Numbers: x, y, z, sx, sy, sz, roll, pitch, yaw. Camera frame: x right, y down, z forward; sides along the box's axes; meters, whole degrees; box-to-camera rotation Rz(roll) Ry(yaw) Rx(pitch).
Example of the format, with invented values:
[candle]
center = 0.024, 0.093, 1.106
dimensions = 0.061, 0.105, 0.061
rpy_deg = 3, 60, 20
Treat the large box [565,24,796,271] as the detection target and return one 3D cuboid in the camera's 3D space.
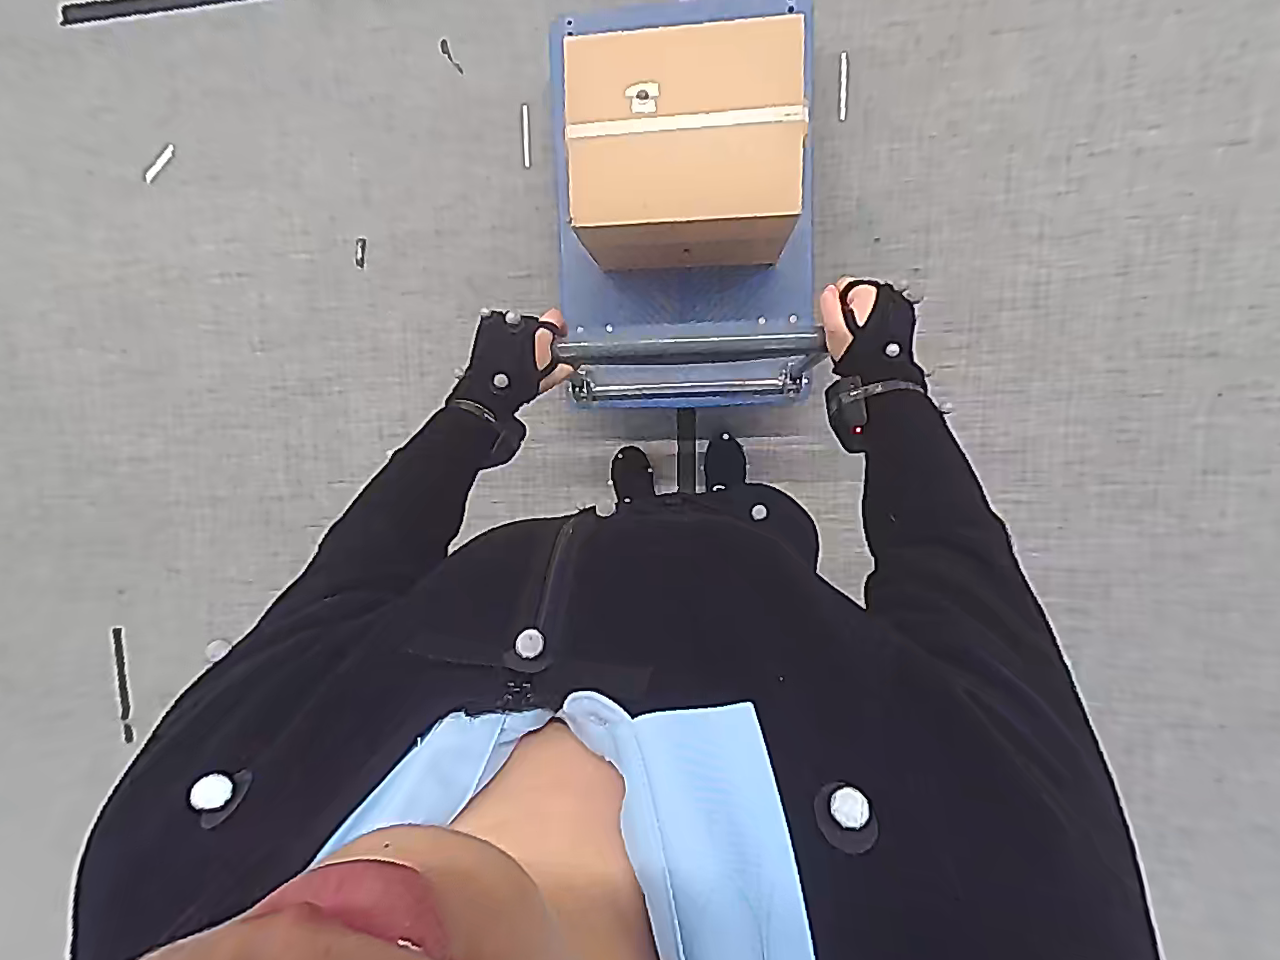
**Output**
[large box]
center = 0.089, -0.628, 1.093
dimensions = 0.408, 0.320, 0.320
rpy_deg = 0, 96, 7
